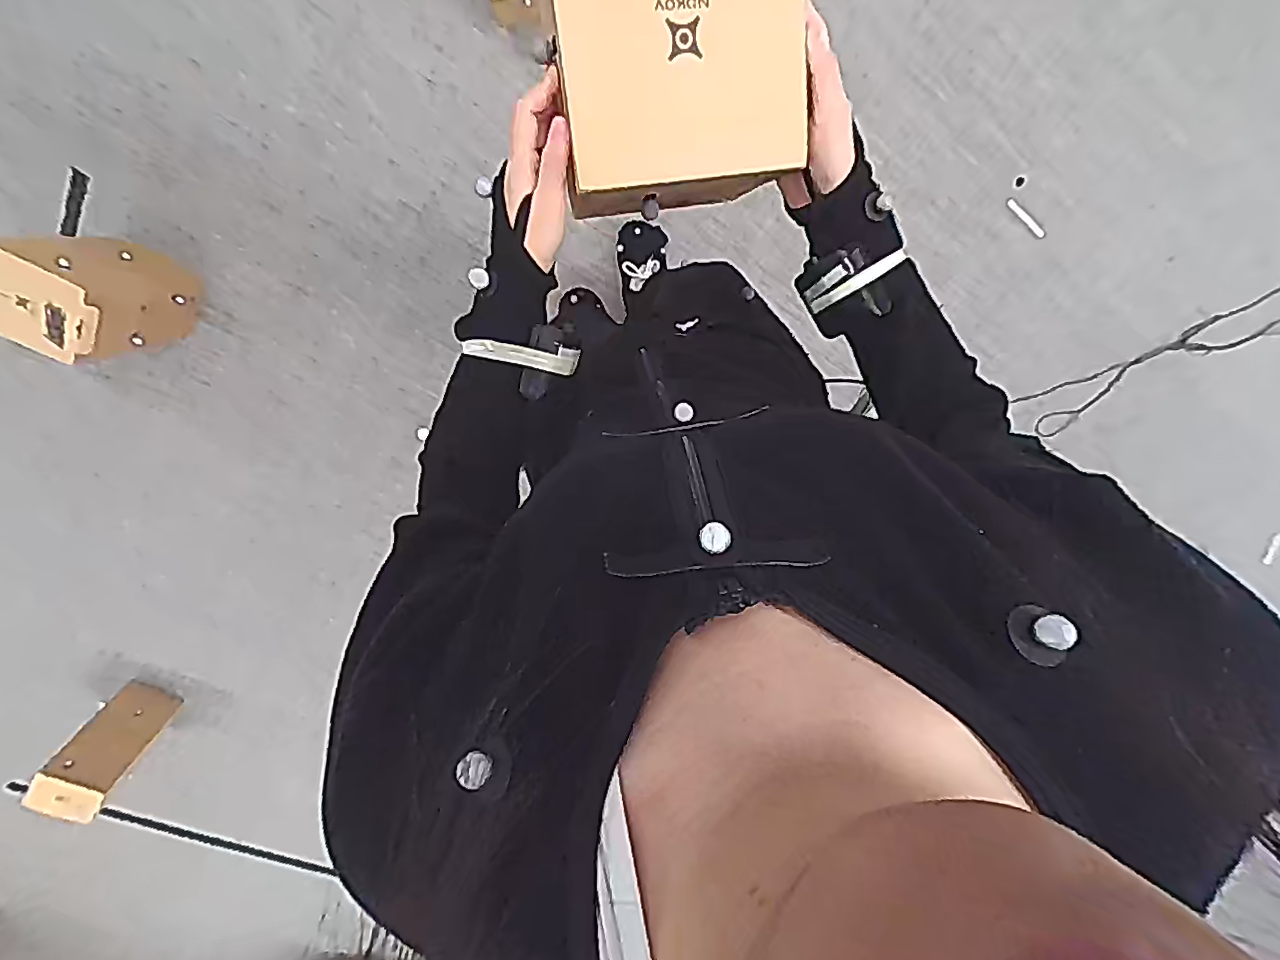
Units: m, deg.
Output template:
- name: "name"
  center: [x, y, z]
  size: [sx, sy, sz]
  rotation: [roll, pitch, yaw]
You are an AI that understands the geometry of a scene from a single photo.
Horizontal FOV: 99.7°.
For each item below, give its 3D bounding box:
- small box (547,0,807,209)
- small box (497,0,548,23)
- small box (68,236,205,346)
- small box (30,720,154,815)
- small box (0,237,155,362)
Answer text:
- name: "small box"
  center: [0.019, -0.321, 0.423]
  size: [0.168, 0.176, 0.179]
  rotation: [-9, 109, -5]
- name: "small box"
  center: [-0.210, -0.999, 1.004]
  size: [0.168, 0.176, 0.179]
  rotation: [-13, 116, 1]
- name: "small box"
  center: [-1.131, -0.429, 1.213]
  size: [0.179, 0.176, 0.168]
  rotation: [26, 110, -15]
- name: "small box"
  center: [-1.624, 0.848, 1.610]
  size: [0.179, 0.176, 0.168]
  rotation: [34, 110, -19]
- name: "small box"
  center: [-1.116, -0.361, 1.063]
  size: [0.179, 0.176, 0.168]
  rotation: [27, 111, -16]
